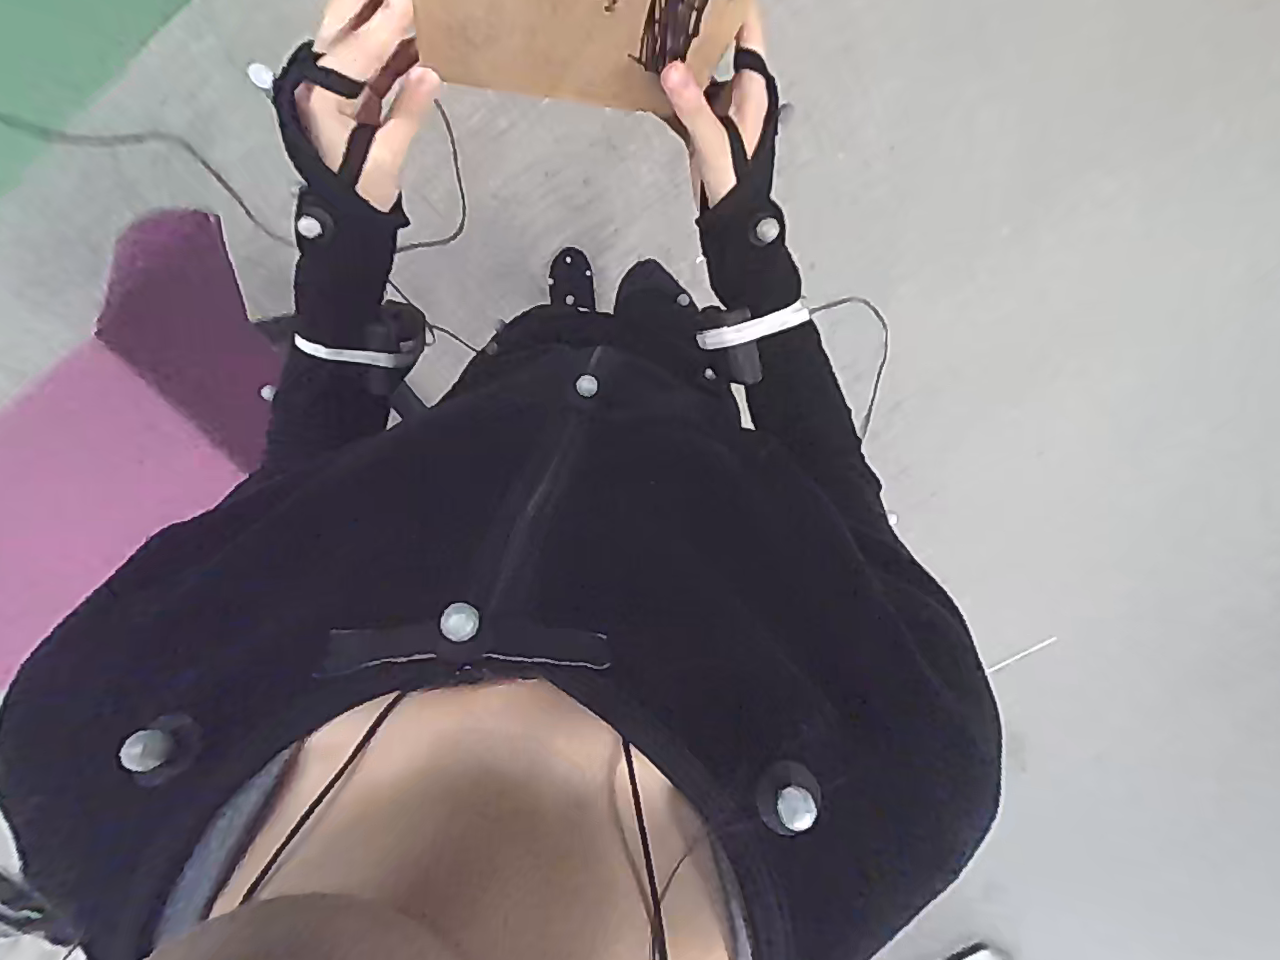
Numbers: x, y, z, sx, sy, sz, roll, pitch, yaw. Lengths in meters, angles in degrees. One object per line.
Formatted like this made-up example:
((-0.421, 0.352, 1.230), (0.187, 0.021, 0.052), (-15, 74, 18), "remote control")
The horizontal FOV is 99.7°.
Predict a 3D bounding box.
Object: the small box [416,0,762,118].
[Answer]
((-0.025, -0.329, 0.271), (0.179, 0.168, 0.176), (-3, 87, -19), "small box")
